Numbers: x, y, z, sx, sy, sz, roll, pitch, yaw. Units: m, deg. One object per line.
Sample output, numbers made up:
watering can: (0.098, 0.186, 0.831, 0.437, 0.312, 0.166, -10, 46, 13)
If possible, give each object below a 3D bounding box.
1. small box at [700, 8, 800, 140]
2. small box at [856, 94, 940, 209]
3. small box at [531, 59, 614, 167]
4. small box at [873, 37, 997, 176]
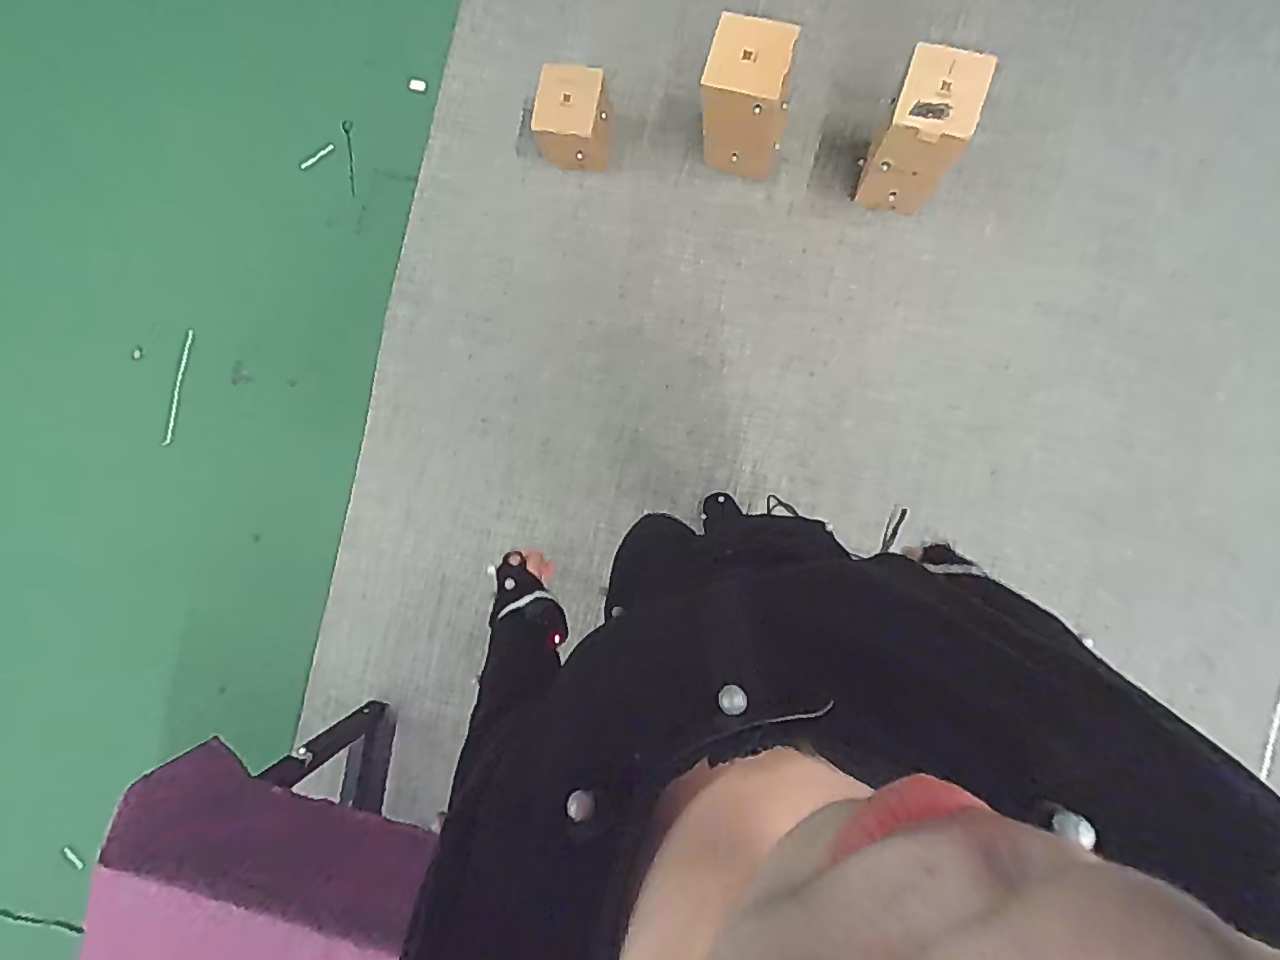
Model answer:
small box: (0.246, -0.918, 1.238, 0.179, 0.176, 0.168, 17, 92, 7)
small box: (0.657, -0.810, 1.348, 0.168, 0.176, 0.179, 16, 93, 7)
small box: (-0.175, -0.982, 1.461, 0.168, 0.176, 0.179, 12, 91, 7)
small box: (0.632, -0.806, 1.185, 0.168, 0.176, 0.179, 17, 92, 7)
